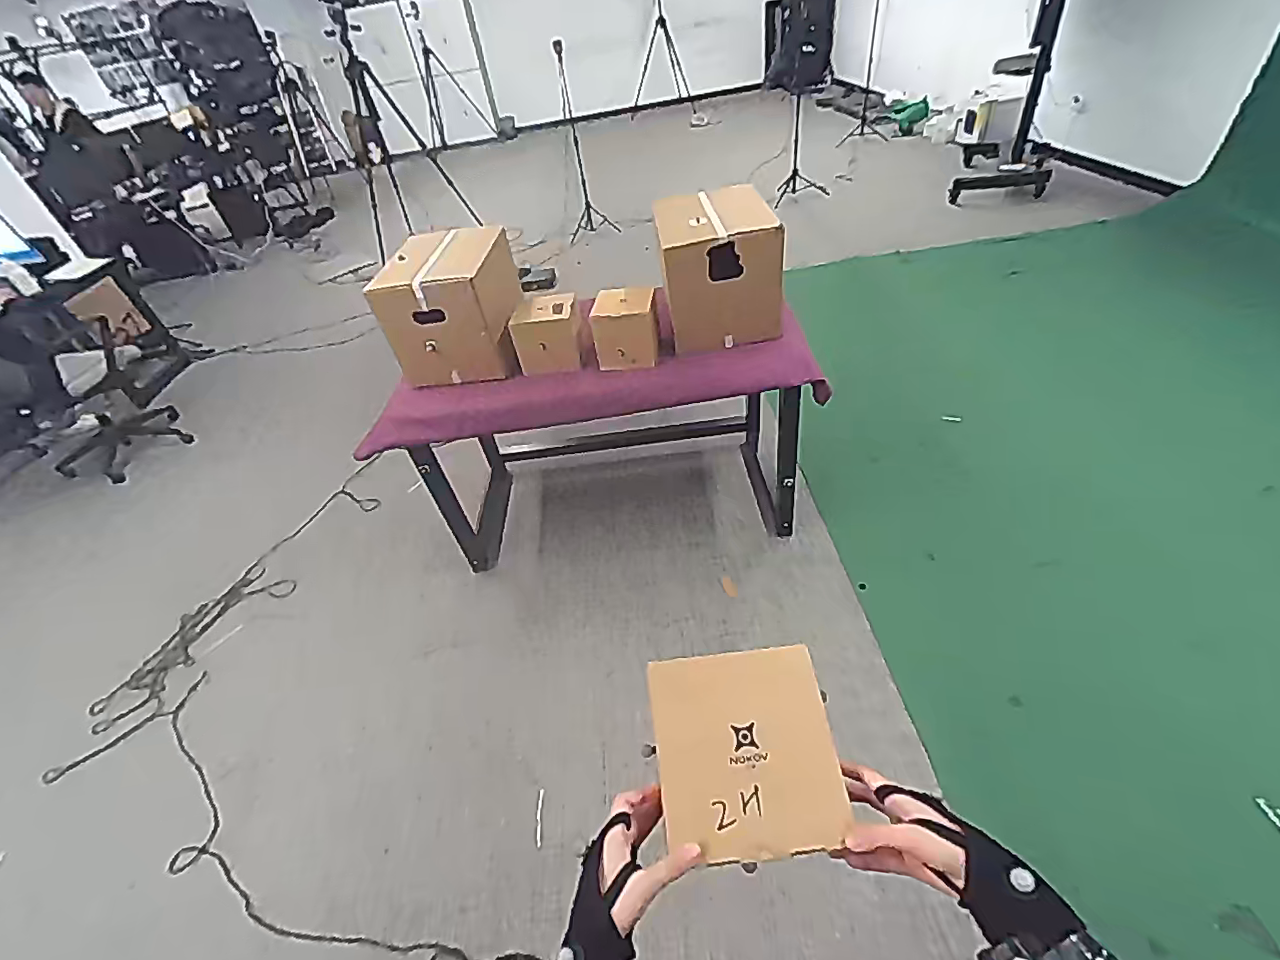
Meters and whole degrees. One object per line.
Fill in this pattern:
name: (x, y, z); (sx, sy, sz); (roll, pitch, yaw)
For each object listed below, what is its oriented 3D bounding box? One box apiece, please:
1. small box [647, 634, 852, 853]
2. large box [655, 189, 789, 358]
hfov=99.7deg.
small box: (0.096, 0.279, 0.572); (0.168, 0.176, 0.179); (-6, 58, -1)
large box: (0.233, -0.615, 1.598); (0.320, 0.320, 0.408); (-10, 42, 5)
